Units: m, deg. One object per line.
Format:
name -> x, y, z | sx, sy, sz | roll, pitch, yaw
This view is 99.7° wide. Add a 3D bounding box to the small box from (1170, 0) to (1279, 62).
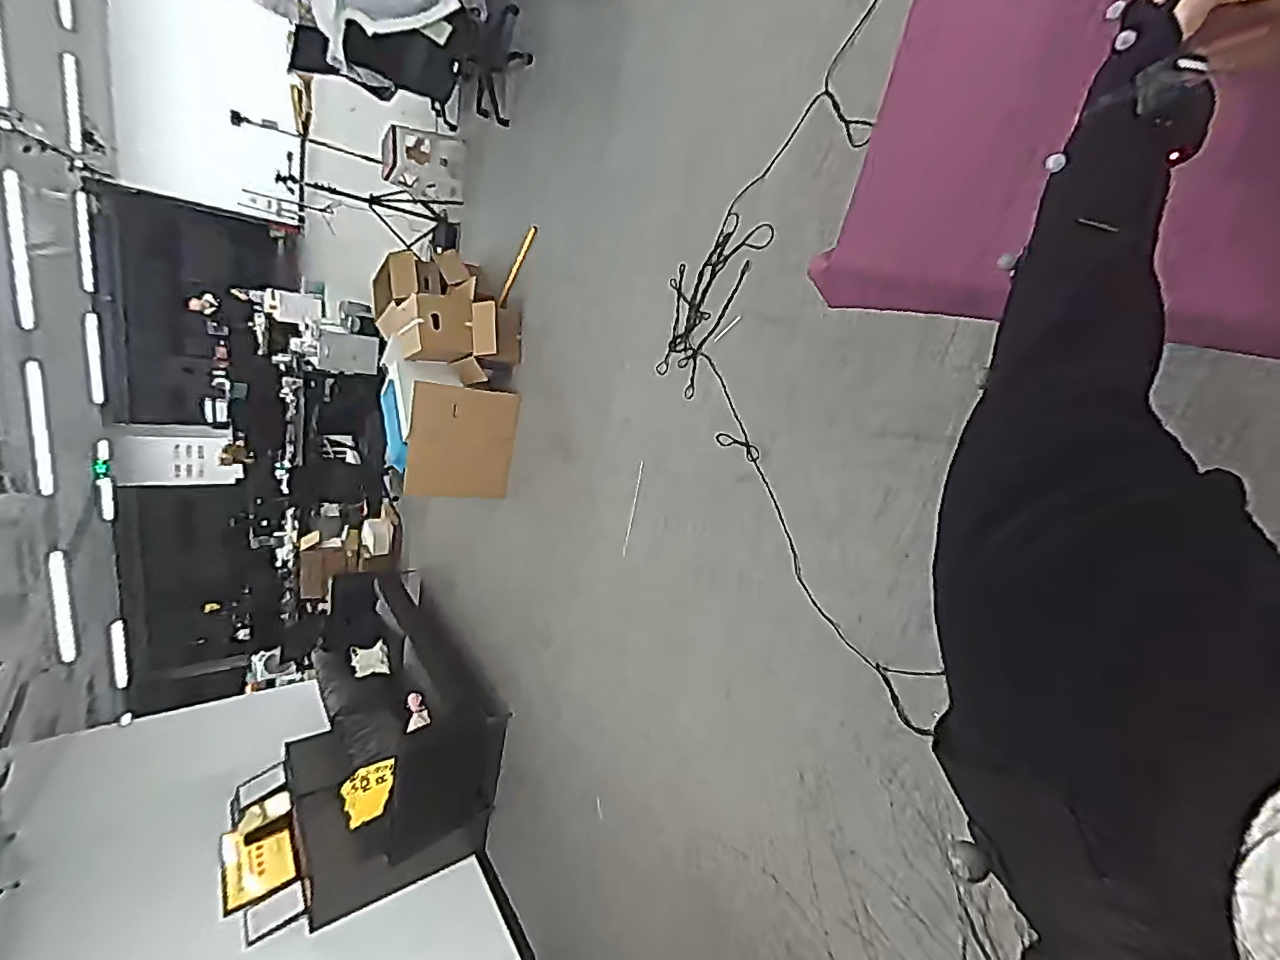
small box -> 0.555, -0.447, 0.399 | 0.168, 0.176, 0.179 | 34, 127, 46
